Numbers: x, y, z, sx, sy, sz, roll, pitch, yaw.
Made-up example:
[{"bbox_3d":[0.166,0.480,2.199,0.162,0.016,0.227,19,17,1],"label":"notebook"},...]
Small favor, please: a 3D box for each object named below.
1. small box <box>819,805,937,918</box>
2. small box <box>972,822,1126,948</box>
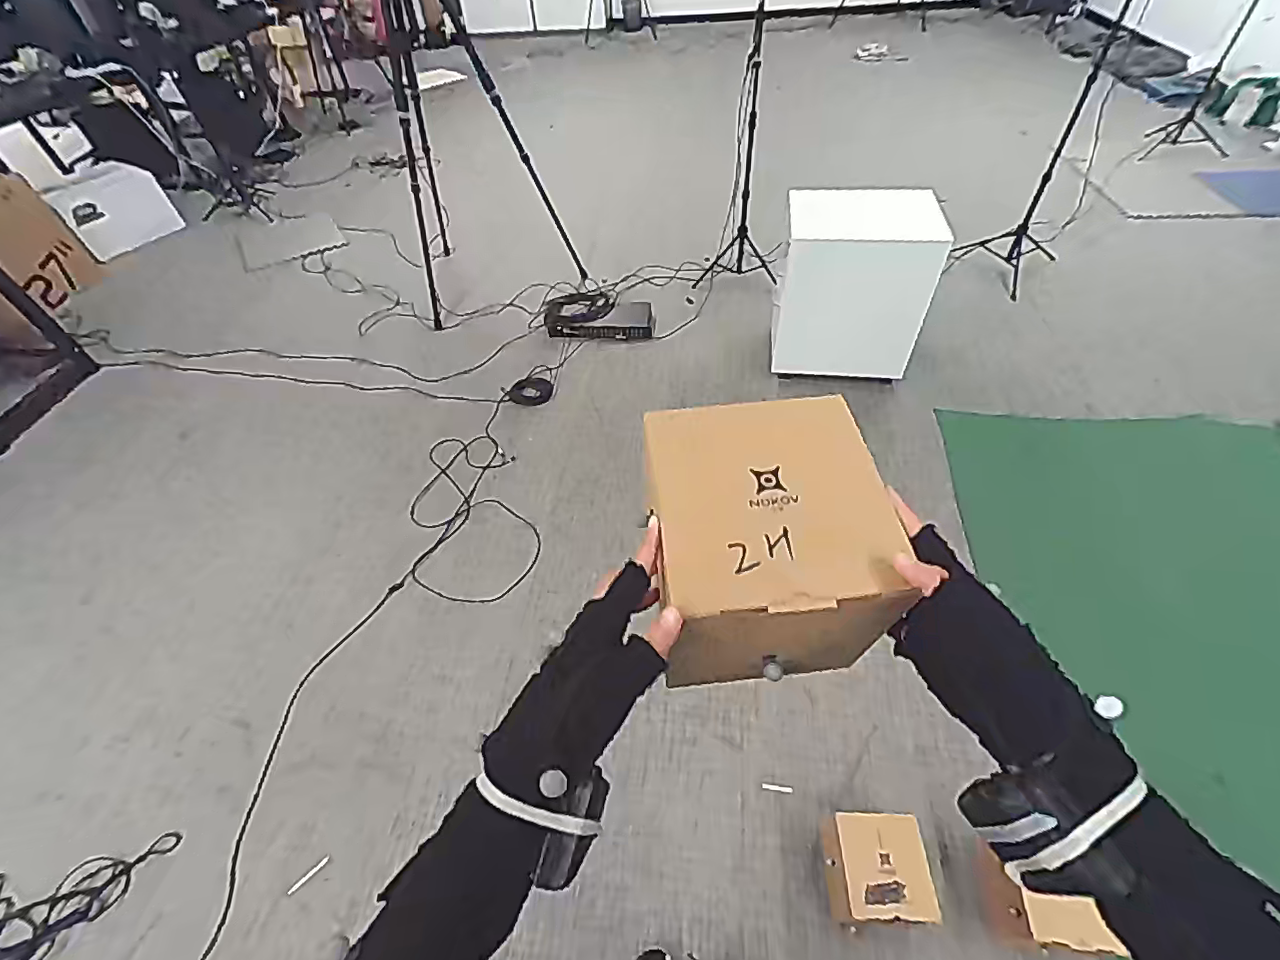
[{"bbox_3d":[0.481,0.795,1.123,0.168,0.176,0.179,0,49,3],"label":"small box"},{"bbox_3d":[0.803,0.814,1.088,0.168,0.176,0.179,4,50,8],"label":"small box"}]
